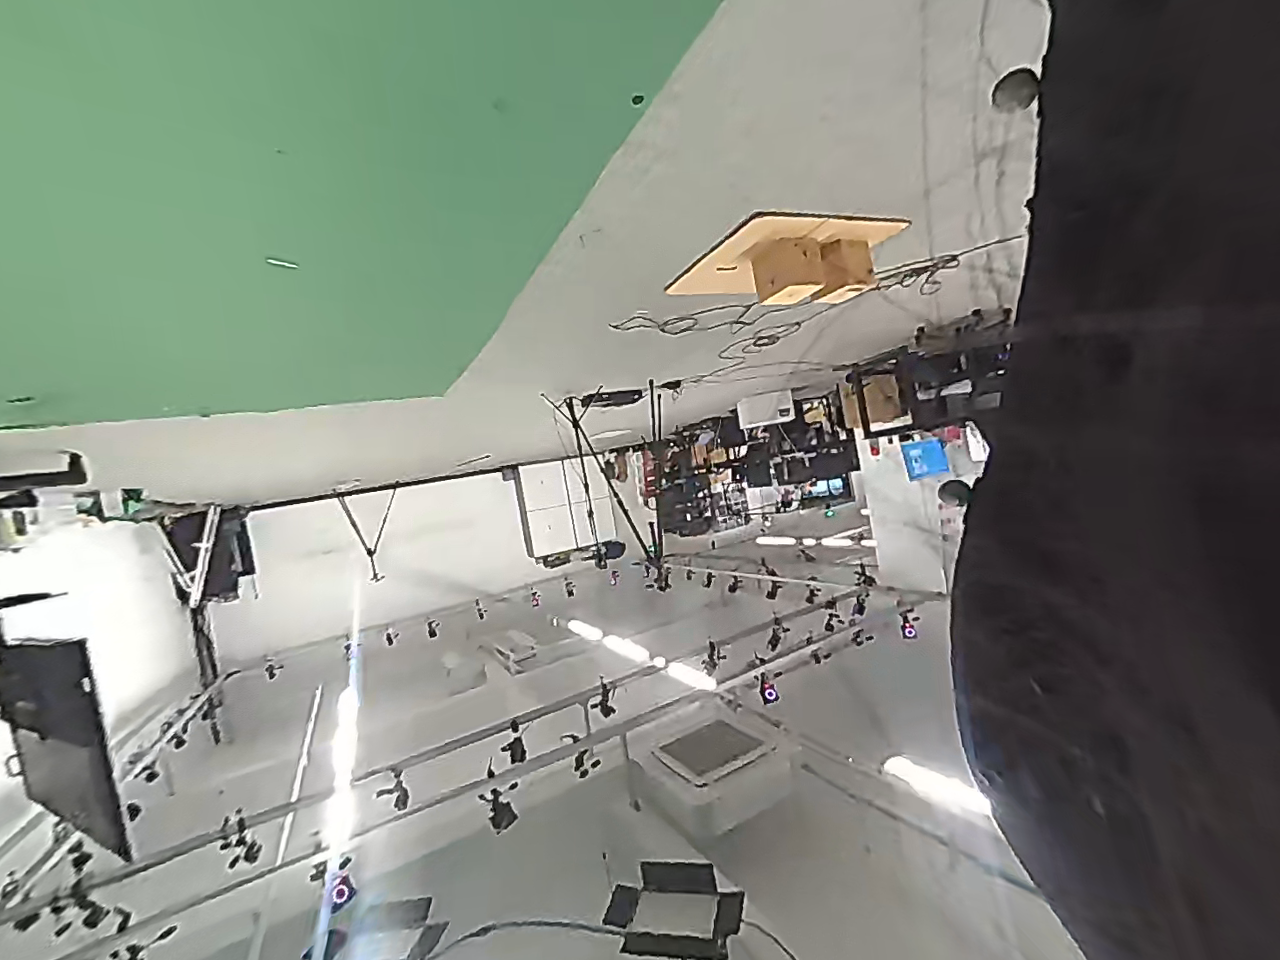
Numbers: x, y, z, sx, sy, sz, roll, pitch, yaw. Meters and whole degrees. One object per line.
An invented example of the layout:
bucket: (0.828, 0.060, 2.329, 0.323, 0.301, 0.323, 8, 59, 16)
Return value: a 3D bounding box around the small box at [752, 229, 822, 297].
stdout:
small box: (0.515, -0.766, 1.921, 0.168, 0.176, 0.179, -11, 179, -24)
